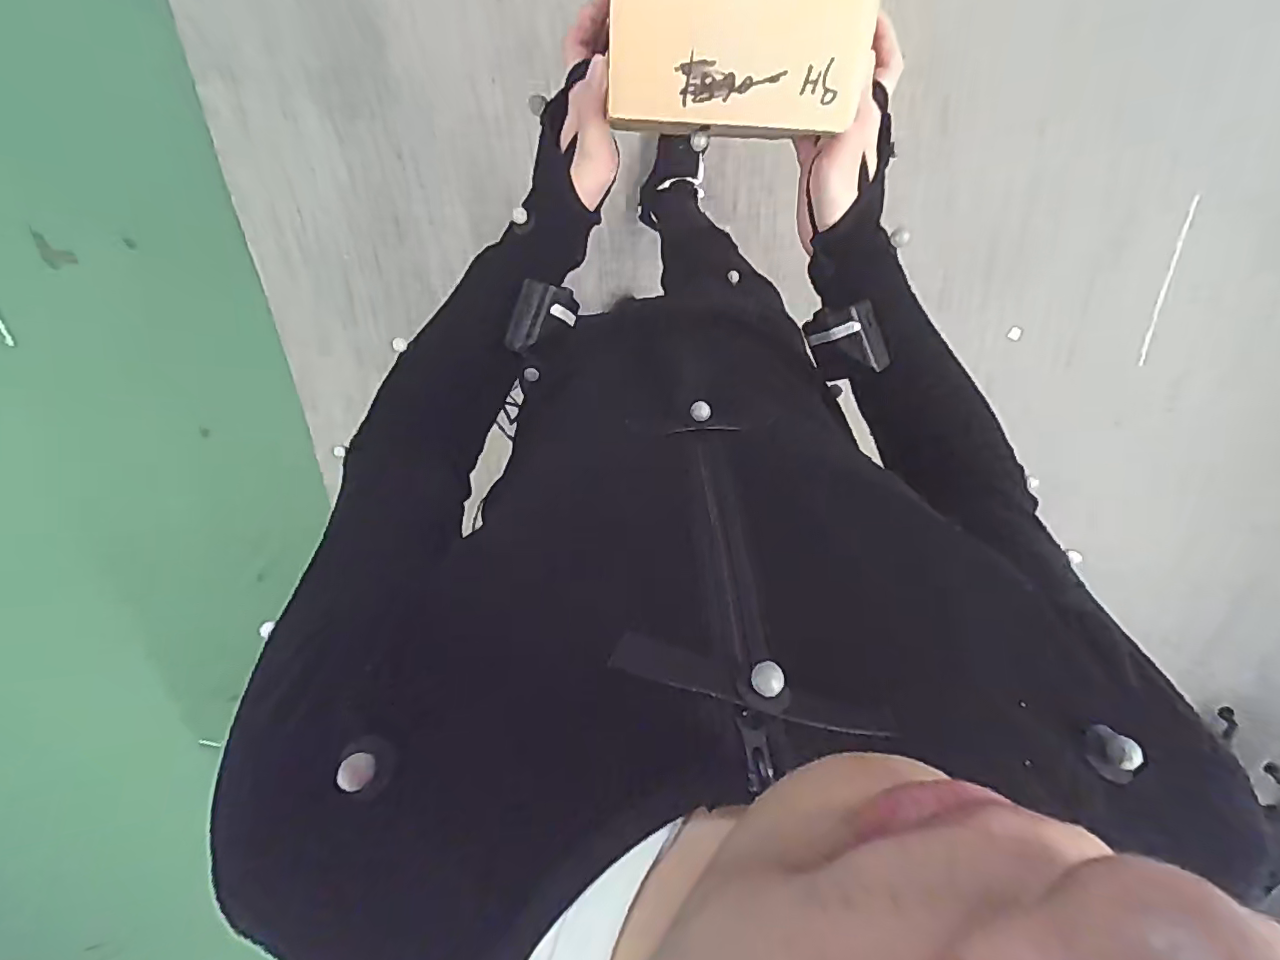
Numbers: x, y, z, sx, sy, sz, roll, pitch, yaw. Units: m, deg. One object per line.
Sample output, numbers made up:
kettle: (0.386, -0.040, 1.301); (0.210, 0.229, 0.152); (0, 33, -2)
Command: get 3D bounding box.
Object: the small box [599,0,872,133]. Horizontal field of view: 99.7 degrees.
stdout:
small box: (0.056, -0.355, 0.377); (0.168, 0.176, 0.179); (1, 121, -4)
